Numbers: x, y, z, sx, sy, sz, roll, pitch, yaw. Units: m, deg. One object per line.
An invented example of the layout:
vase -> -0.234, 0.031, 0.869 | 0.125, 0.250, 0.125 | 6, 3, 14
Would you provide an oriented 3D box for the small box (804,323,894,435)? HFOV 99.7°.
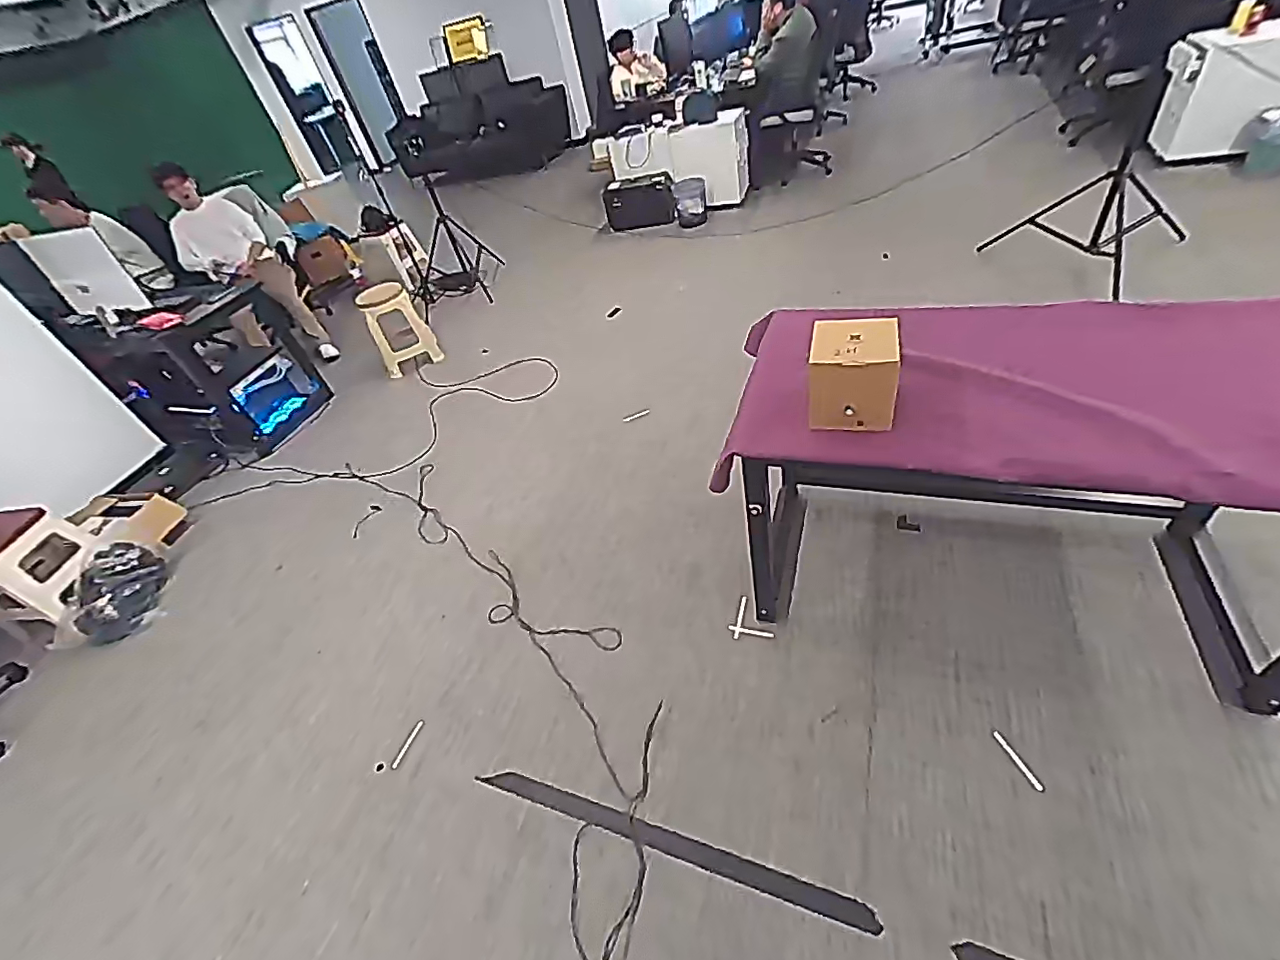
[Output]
small box -> 0.444, -0.218, 1.157 | 0.168, 0.176, 0.179 | 4, 45, 20
